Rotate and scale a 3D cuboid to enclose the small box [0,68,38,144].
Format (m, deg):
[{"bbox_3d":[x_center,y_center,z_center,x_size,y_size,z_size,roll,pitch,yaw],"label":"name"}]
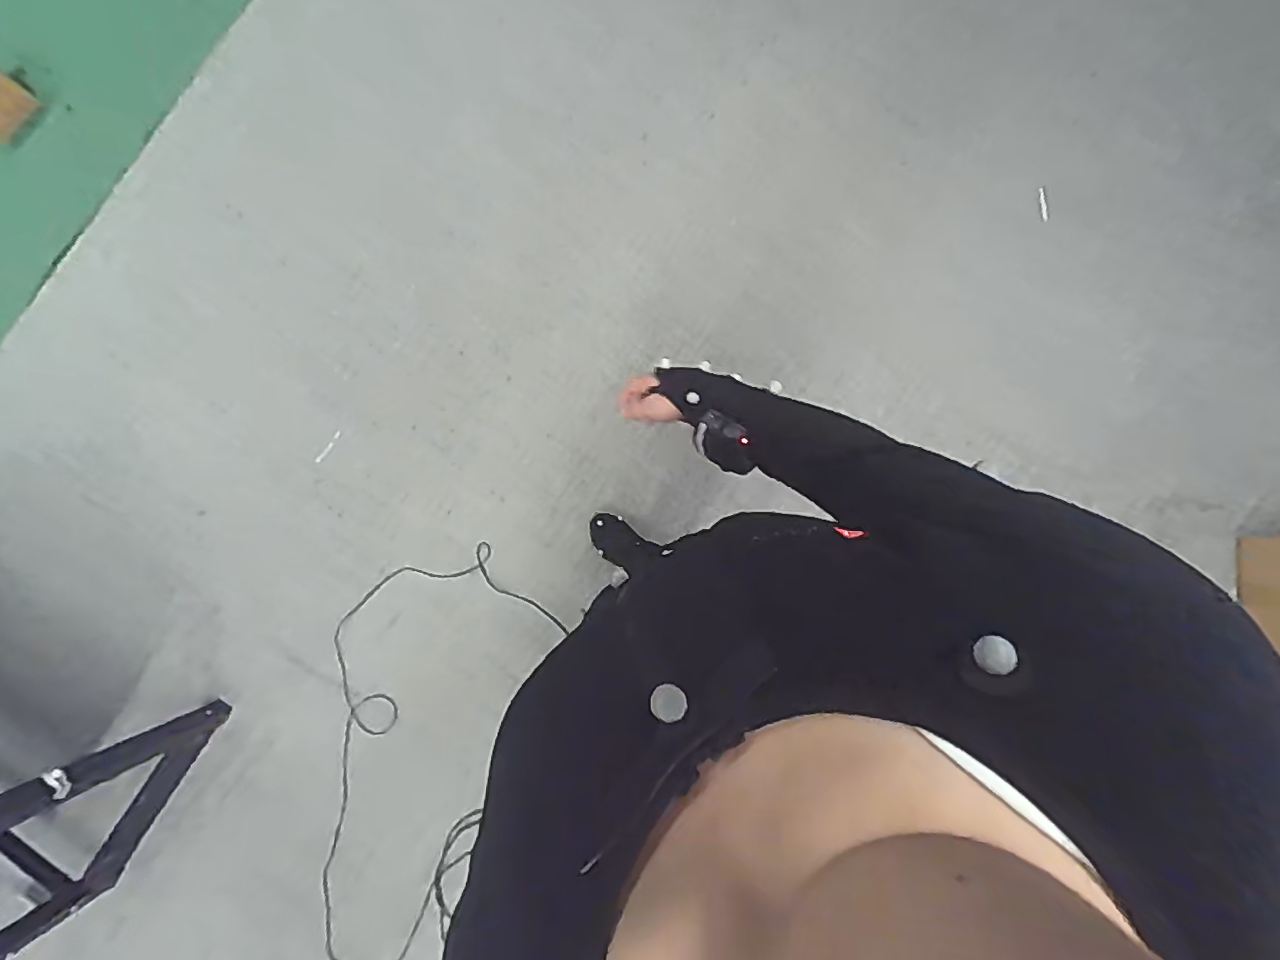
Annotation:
[{"bbox_3d":[-1.909,-1.123,1.547,0.168,0.176,0.179,38,88,3],"label":"small box"}]
